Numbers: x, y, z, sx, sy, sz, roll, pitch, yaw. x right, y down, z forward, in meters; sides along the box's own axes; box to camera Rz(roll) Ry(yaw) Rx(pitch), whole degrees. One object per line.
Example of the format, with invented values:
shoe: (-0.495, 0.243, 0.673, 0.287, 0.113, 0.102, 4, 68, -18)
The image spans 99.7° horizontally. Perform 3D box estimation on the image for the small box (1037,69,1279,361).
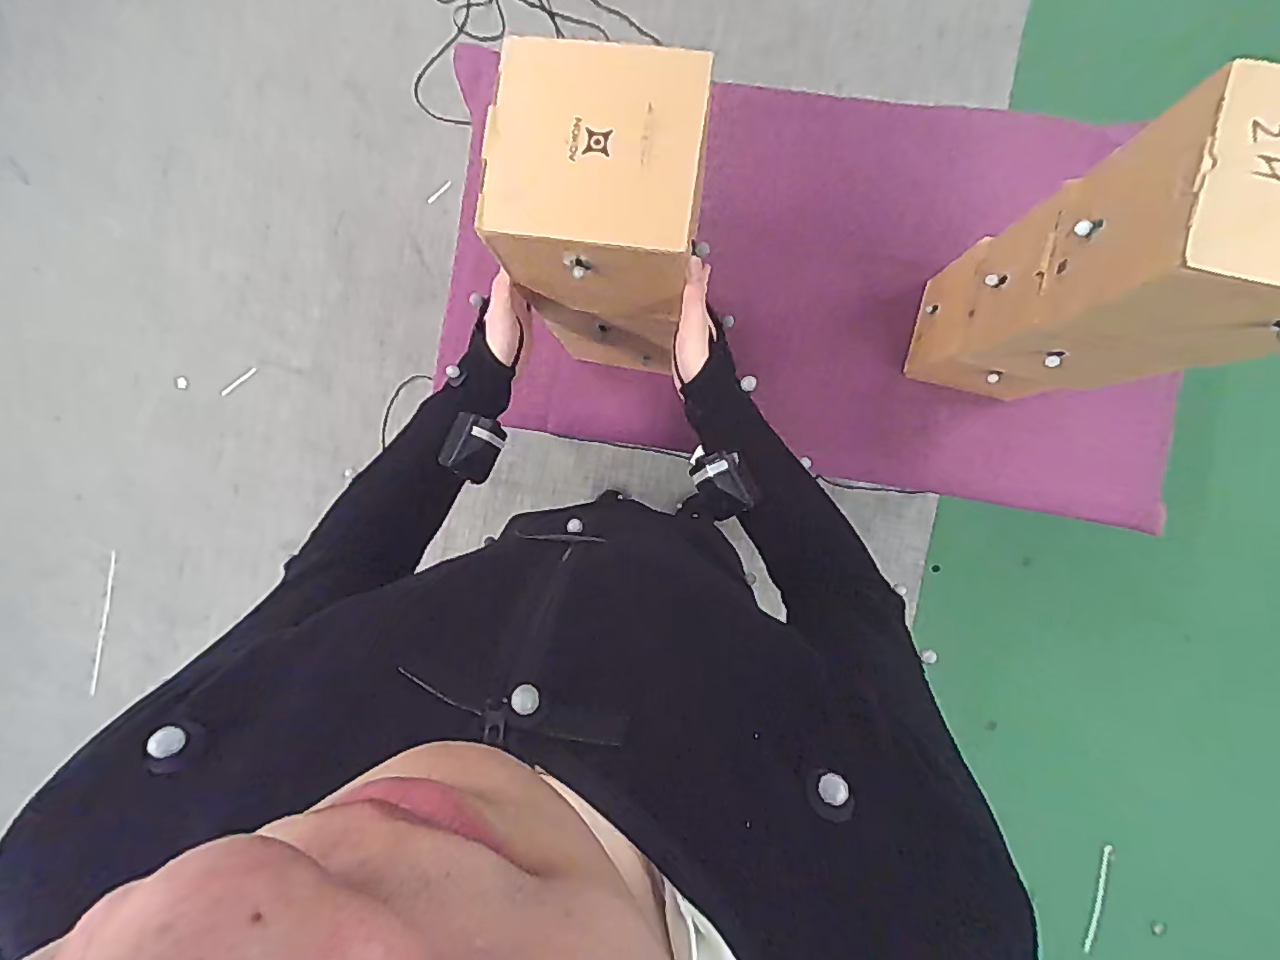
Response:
small box: (0.522, -0.218, 0.494, 0.179, 0.176, 0.168, 14, 90, 4)

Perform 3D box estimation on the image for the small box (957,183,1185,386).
small box: (0.527, -0.222, 0.659, 0.179, 0.176, 0.168, 15, 91, 4)

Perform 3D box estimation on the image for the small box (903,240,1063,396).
small box: (0.537, -0.233, 0.823, 0.179, 0.176, 0.168, 14, 91, 4)

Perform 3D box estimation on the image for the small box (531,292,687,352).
small box: (-0.021, -0.267, 0.682, 0.179, 0.176, 0.168, 9, 90, 2)

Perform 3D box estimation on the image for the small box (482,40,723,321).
small box: (-0.026, -0.264, 0.512, 0.179, 0.176, 0.168, 8, 88, 3)
